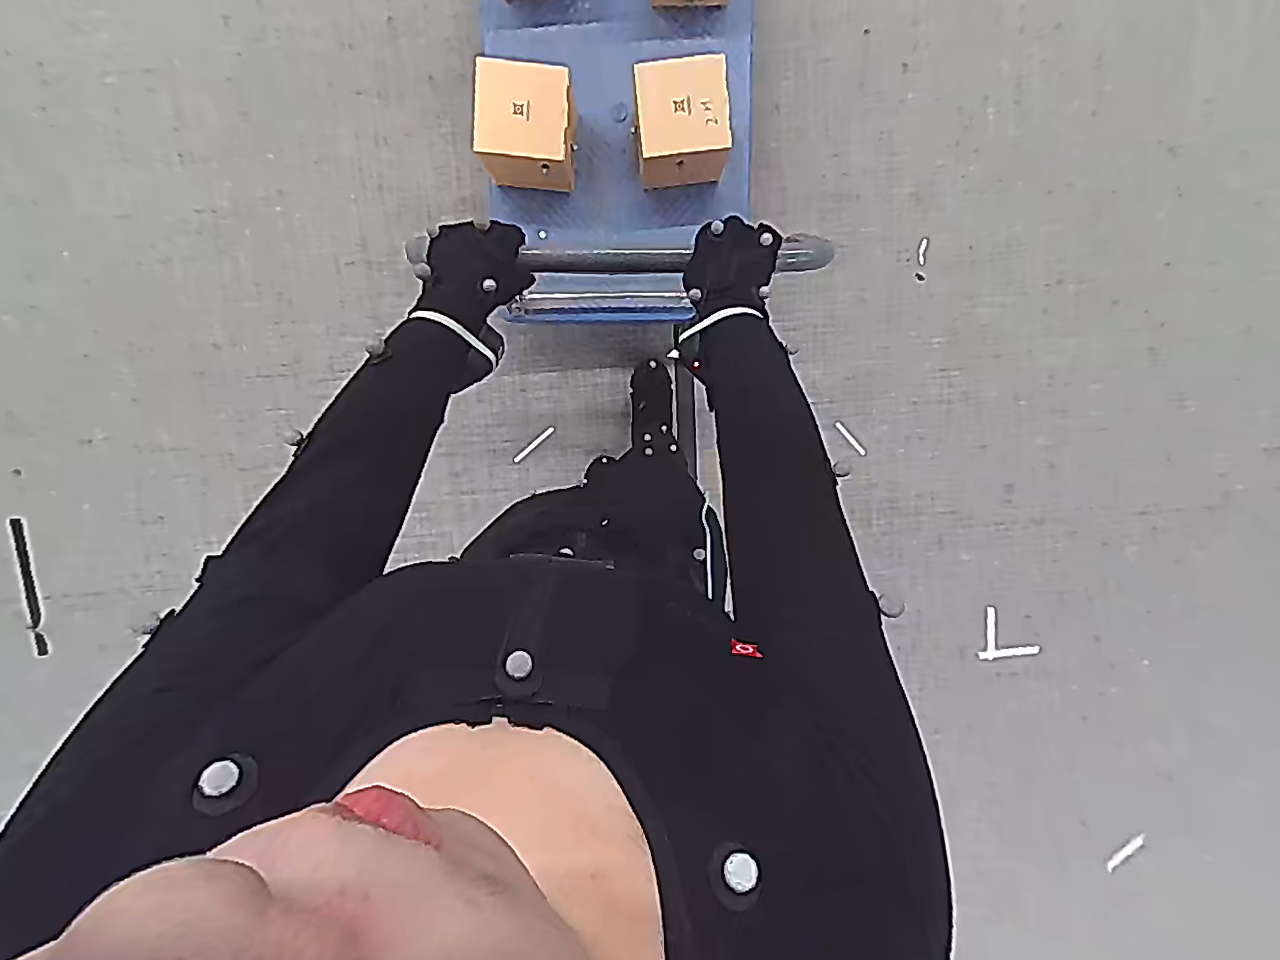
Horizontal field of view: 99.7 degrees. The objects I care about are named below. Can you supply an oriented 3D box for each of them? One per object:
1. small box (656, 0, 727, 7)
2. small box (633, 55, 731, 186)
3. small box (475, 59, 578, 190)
[{"bbox_3d":[0.105,-1.071,1.044,0.168,0.176,0.179,-1,101,-1],"label":"small box"},{"bbox_3d":[0.081,-0.721,1.105,0.179,0.176,0.168,-6,100,0],"label":"small box"},{"bbox_3d":[-0.225,-0.713,1.102,0.179,0.176,0.168,4,99,-3],"label":"small box"}]
